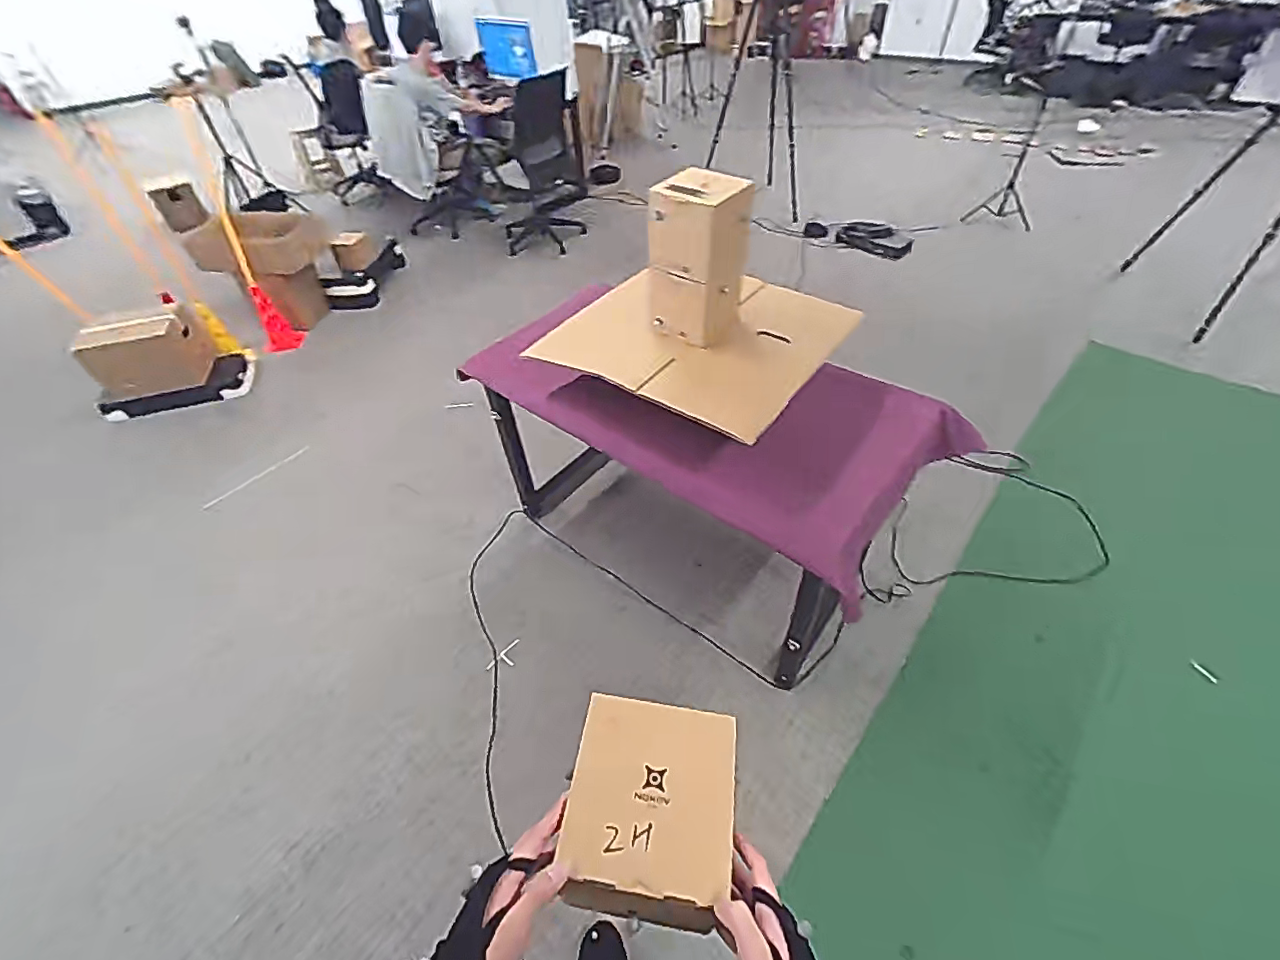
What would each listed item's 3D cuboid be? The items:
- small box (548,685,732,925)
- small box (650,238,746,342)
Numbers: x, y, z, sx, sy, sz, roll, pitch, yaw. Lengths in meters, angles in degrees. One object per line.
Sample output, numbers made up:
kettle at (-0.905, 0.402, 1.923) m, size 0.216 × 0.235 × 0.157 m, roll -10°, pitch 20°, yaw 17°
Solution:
small box at (0.005, 0.360, 0.600) m, size 0.168 × 0.176 × 0.179 m, roll 7°, pitch 45°, yaw 6°
small box at (0.141, -0.465, 1.329) m, size 0.168 × 0.176 × 0.179 m, roll 29°, pitch 54°, yaw 25°
